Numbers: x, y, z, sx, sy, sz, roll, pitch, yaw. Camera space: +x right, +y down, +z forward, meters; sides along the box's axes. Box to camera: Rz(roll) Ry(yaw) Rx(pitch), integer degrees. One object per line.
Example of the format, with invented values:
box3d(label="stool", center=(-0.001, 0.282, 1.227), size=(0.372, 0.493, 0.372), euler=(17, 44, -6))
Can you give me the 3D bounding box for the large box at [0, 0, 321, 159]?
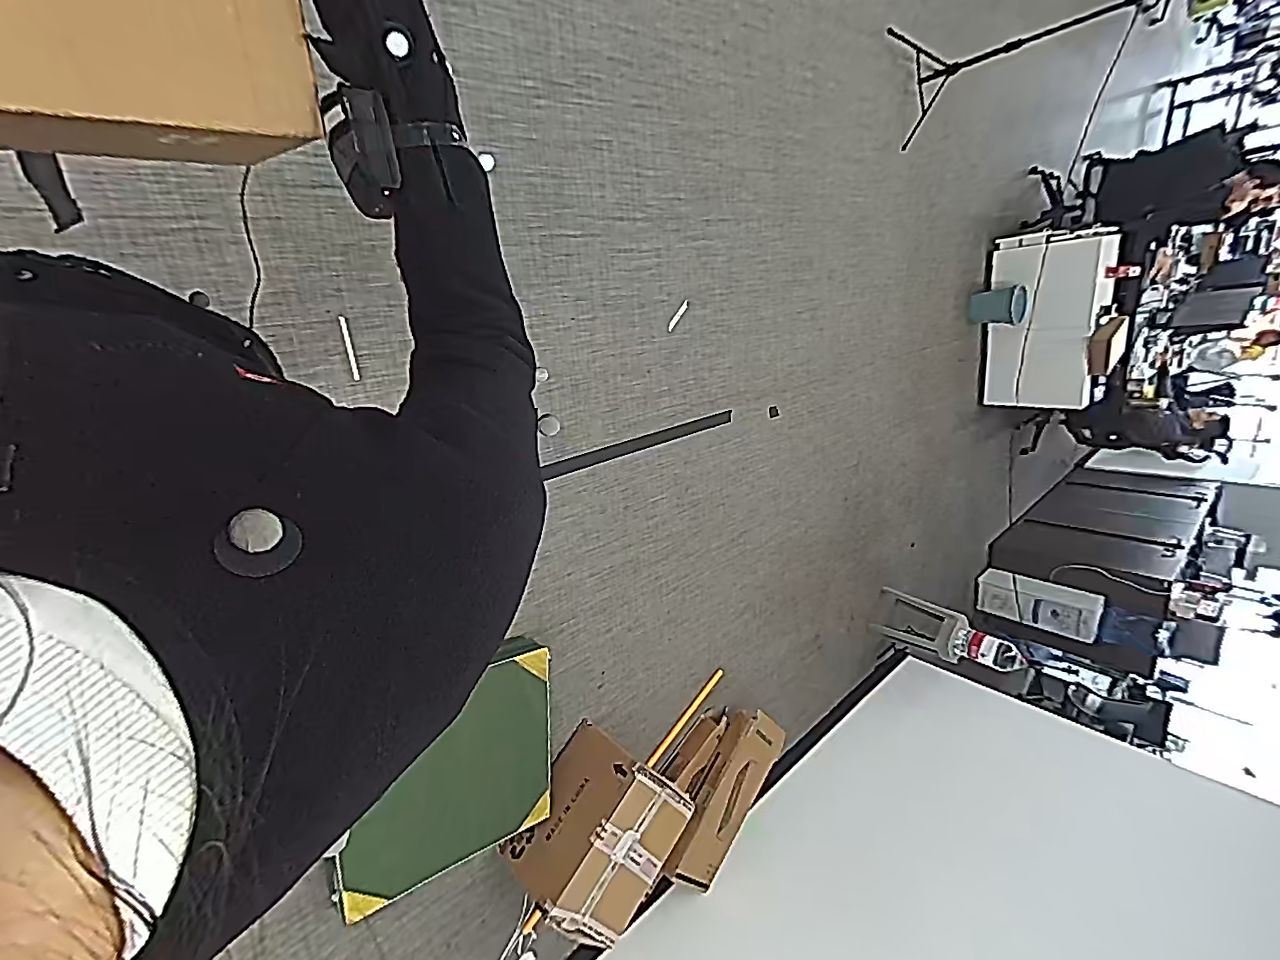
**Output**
box3d(label="large box", center=(-0.462, -0.365, 0.286), size=(0.408, 0.320, 0.320), euler=(-20, 124, -36))
